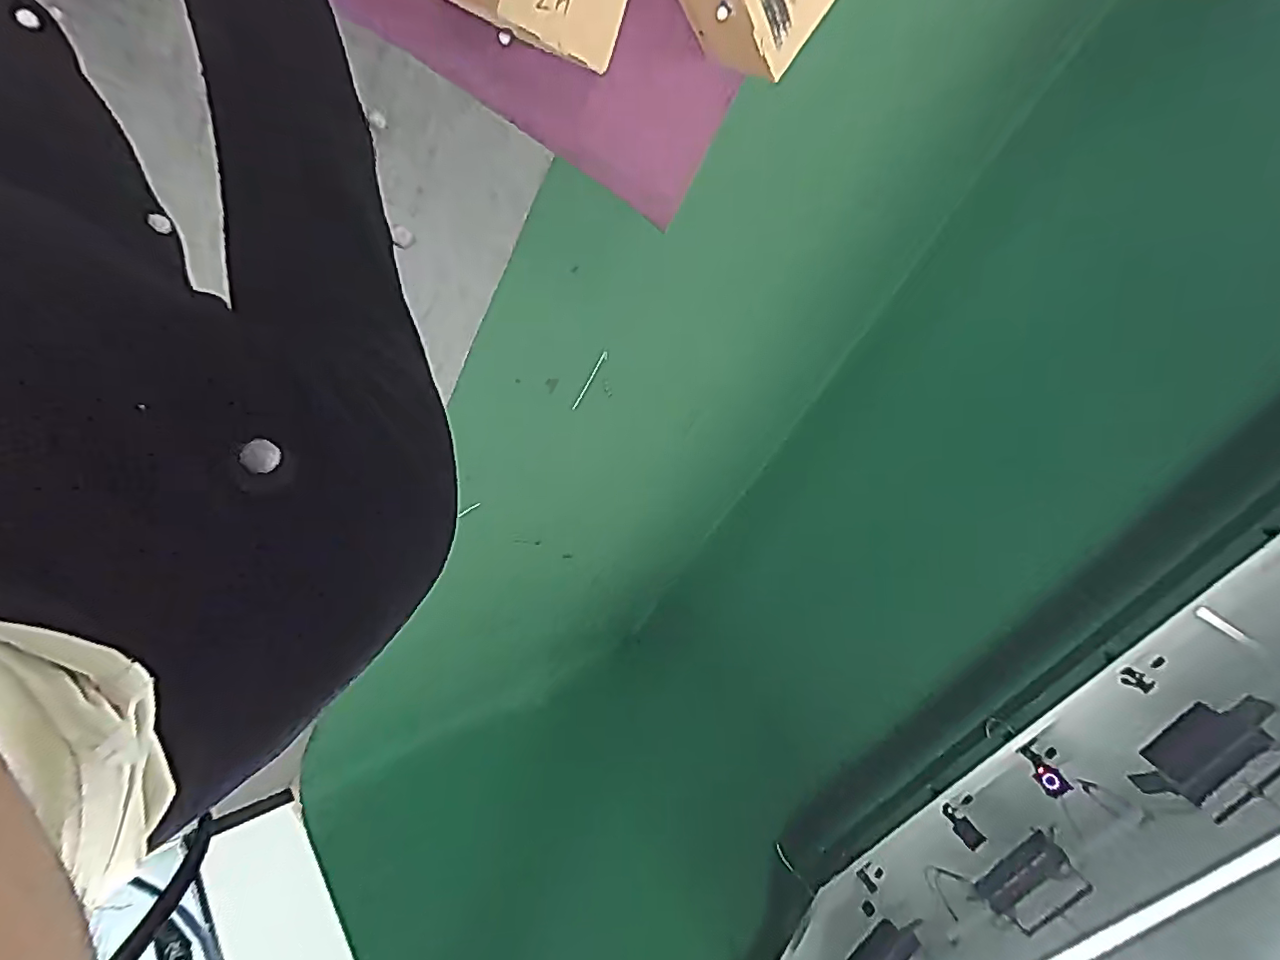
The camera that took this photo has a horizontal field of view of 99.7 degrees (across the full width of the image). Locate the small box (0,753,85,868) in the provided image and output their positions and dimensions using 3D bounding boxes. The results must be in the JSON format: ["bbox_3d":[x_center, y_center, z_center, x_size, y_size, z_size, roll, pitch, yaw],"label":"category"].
[{"bbox_3d":[-1.556,0.843,1.382,0.168,0.176,0.179,3,125,-54],"label":"small box"}]

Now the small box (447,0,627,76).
[{"bbox_3d":[-0.122,-0.630,0.639,0.168,0.176,0.179,-11,136,-46],"label":"small box"}]
